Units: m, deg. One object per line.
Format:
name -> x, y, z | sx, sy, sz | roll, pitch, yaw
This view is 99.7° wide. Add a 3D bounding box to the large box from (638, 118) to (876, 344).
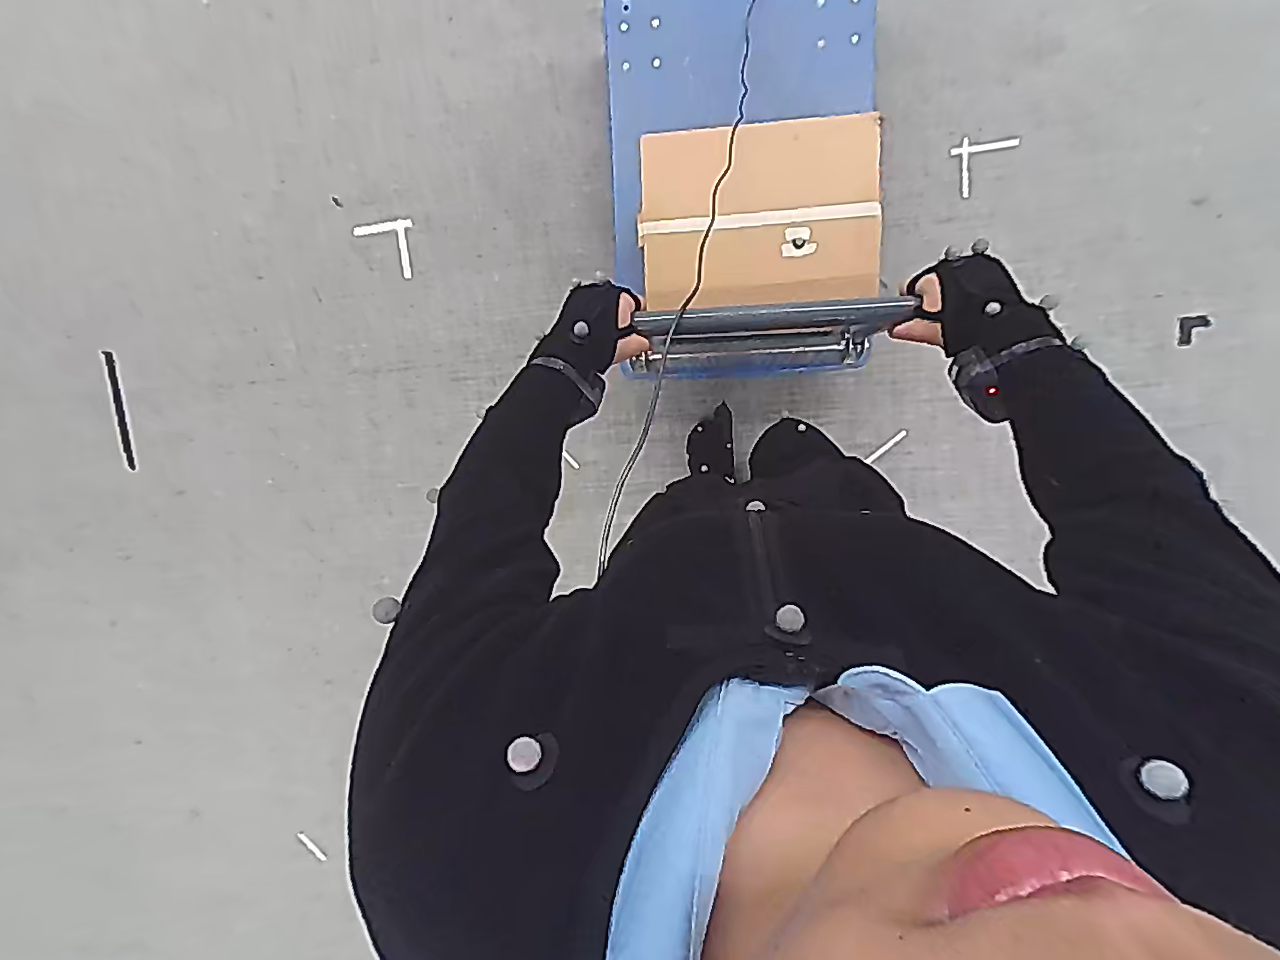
large box -> 0.215, -0.459, 1.082 | 0.408, 0.320, 0.320 | -2, 98, 6
